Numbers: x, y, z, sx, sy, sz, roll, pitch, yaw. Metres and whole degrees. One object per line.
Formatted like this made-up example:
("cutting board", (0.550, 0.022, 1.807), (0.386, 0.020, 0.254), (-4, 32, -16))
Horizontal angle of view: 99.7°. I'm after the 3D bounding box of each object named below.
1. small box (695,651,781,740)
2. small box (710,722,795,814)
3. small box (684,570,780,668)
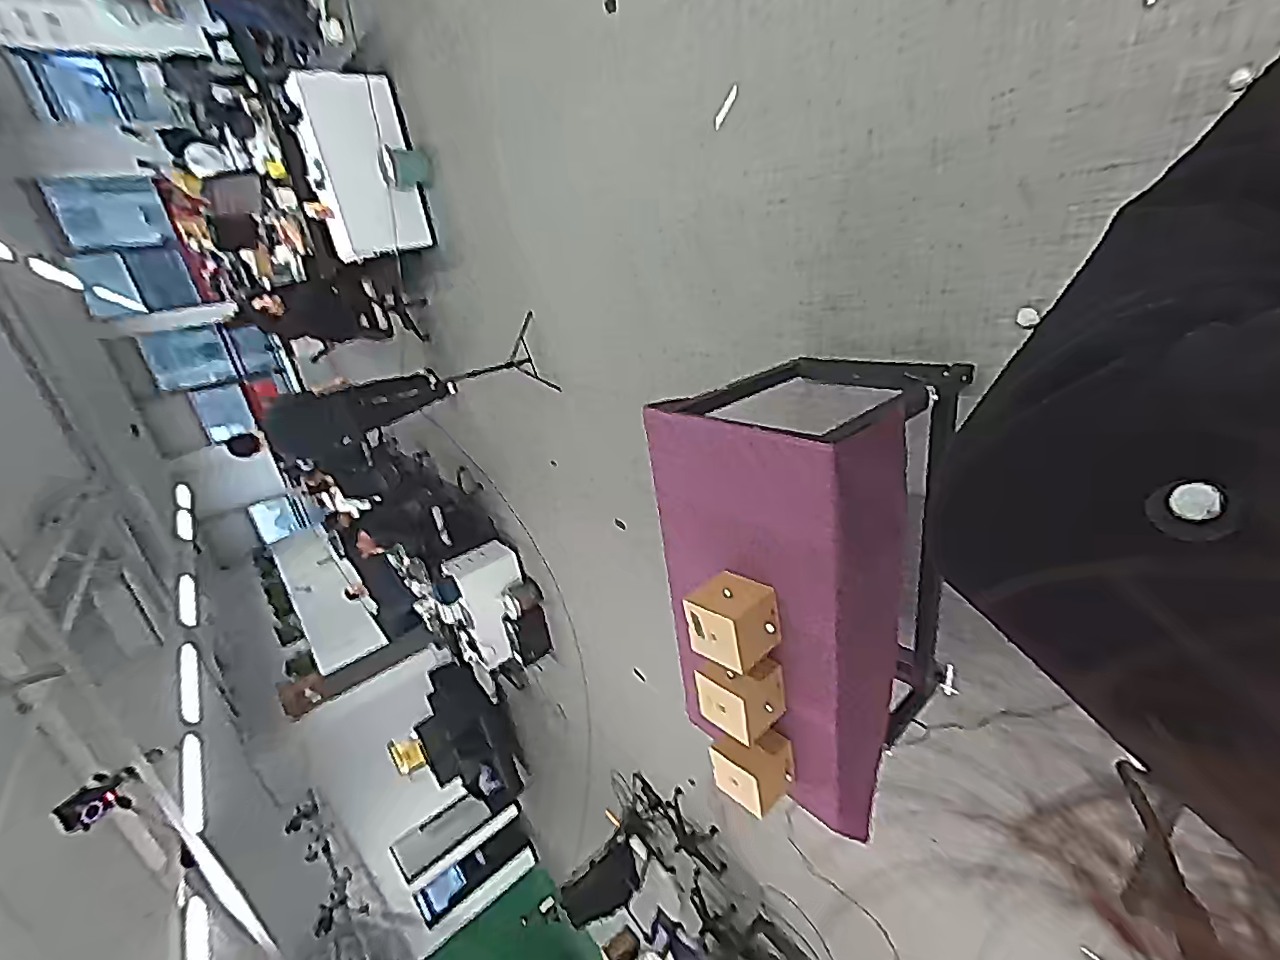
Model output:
("small box", (0.283, 0.578, 1.520), (0.179, 0.176, 0.168), (17, 124, 48))
("small box", (0.336, 0.832, 1.612), (0.179, 0.176, 0.168), (14, 123, 50))
("small box", (0.244, 0.357, 1.431), (0.179, 0.176, 0.168), (12, 120, 50))
